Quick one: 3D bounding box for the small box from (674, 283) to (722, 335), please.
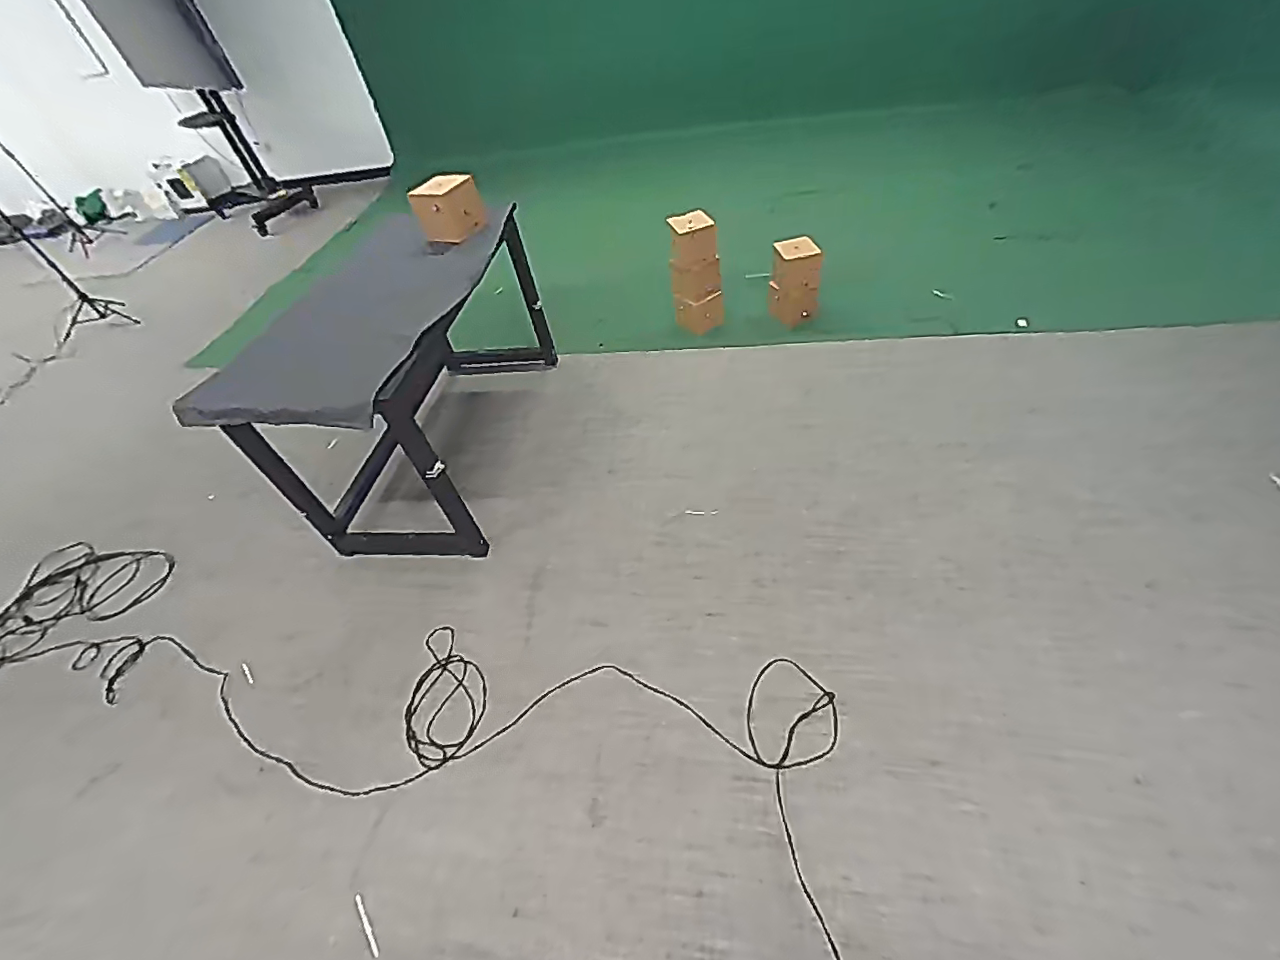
[{"bbox_3d":[0.288,-0.832,2.645,0.168,0.176,0.179,-34,50,-19],"label":"small box"}]

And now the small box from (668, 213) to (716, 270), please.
[{"bbox_3d":[0.233,-1.066,2.419,0.168,0.176,0.179,-19,47,-6],"label":"small box"}]

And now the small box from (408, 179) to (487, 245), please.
[{"bbox_3d":[-0.688,-0.967,1.955,0.179,0.176,0.168,14,52,26],"label":"small box"}]

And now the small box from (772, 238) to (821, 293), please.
[{"bbox_3d":[0.709,-0.969,2.459,0.168,0.176,0.179,-12,46,-2],"label":"small box"}]

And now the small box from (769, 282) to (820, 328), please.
[{"bbox_3d":[0.727,-0.854,2.572,0.168,0.176,0.179,-28,50,-14],"label":"small box"}]
